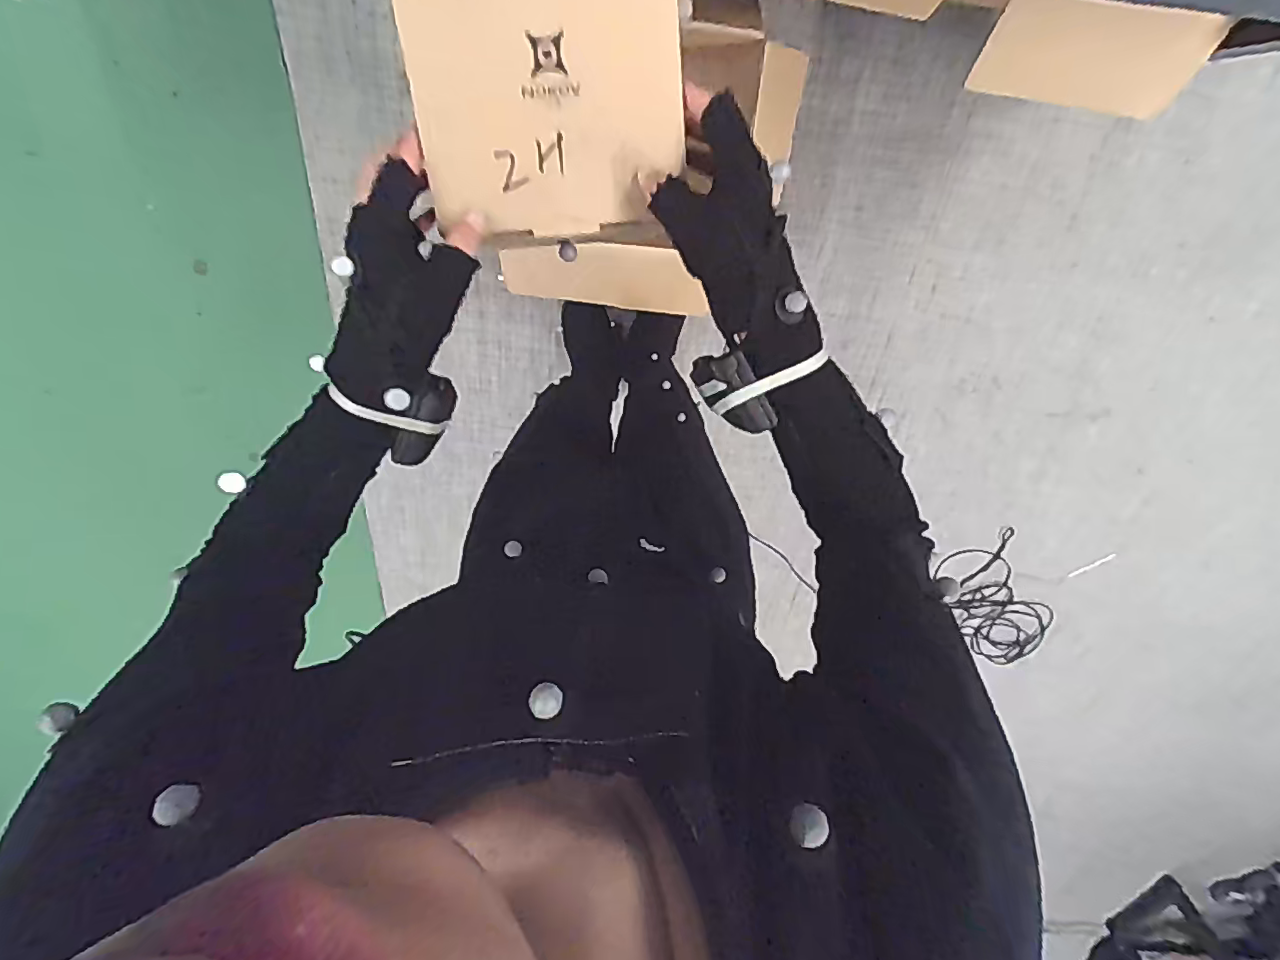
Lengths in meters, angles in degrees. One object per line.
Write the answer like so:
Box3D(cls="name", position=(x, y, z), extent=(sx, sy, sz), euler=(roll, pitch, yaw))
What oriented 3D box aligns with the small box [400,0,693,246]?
Box3D(cls="small box", position=(-0.061, -0.275, 0.393), extent=(0.168, 0.176, 0.179), euler=(-7, 111, -4))
